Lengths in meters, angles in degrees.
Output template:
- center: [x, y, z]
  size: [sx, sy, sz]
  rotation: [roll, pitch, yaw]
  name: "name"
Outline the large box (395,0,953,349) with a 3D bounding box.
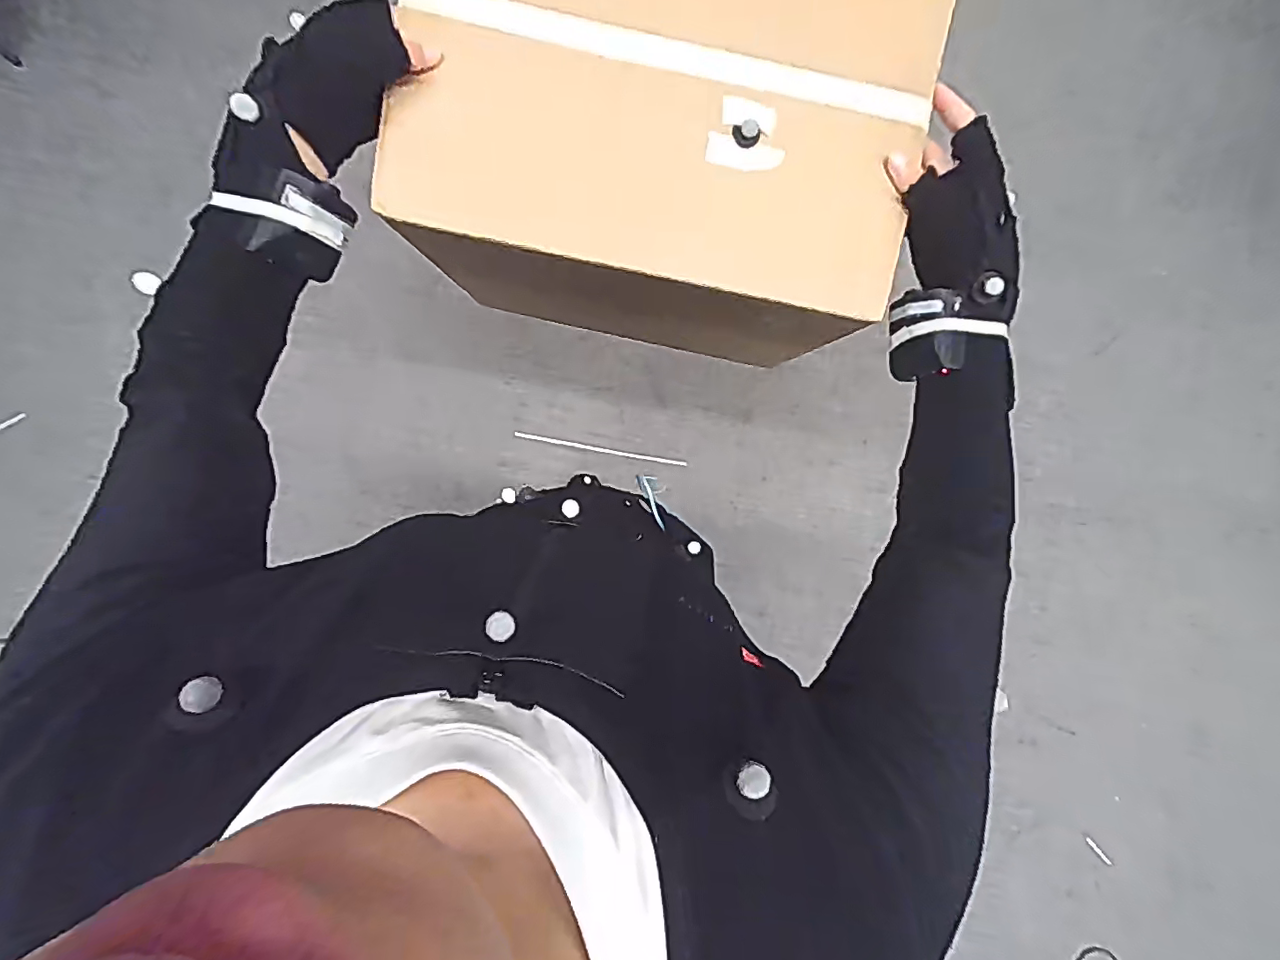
- center: [0.024, -0.344, 0.557]
  size: [0.408, 0.320, 0.320]
  rotation: [11, 96, -4]
  name: "large box"
